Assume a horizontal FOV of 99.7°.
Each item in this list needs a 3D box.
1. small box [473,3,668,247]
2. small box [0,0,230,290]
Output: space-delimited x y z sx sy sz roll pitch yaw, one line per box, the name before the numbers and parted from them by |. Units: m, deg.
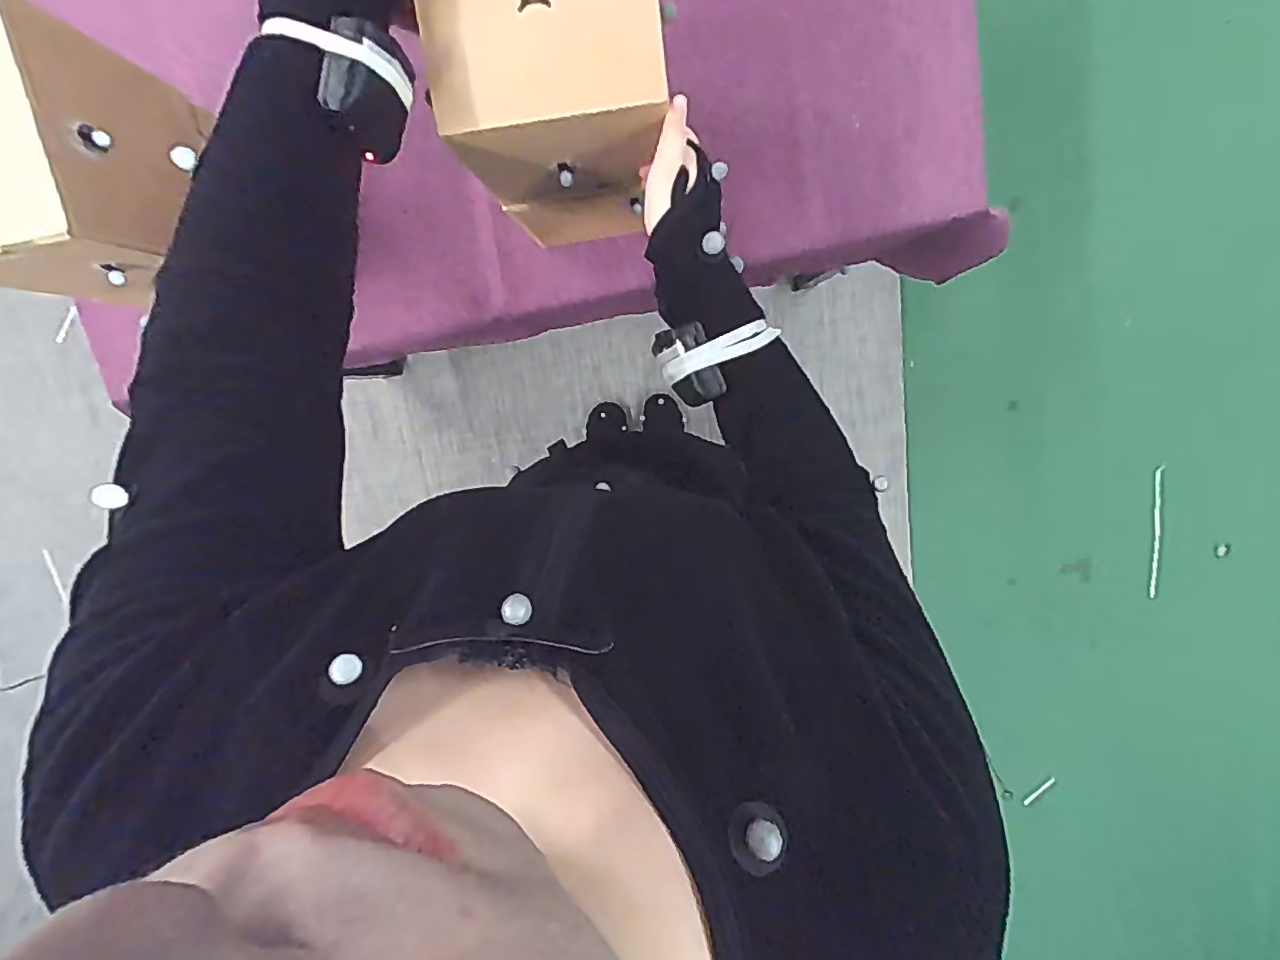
small box | -0.063 -0.374 0.606 0.179 0.176 0.168 -7 101 3
small box | -0.514 -0.272 0.478 0.168 0.176 0.179 -7 100 3
